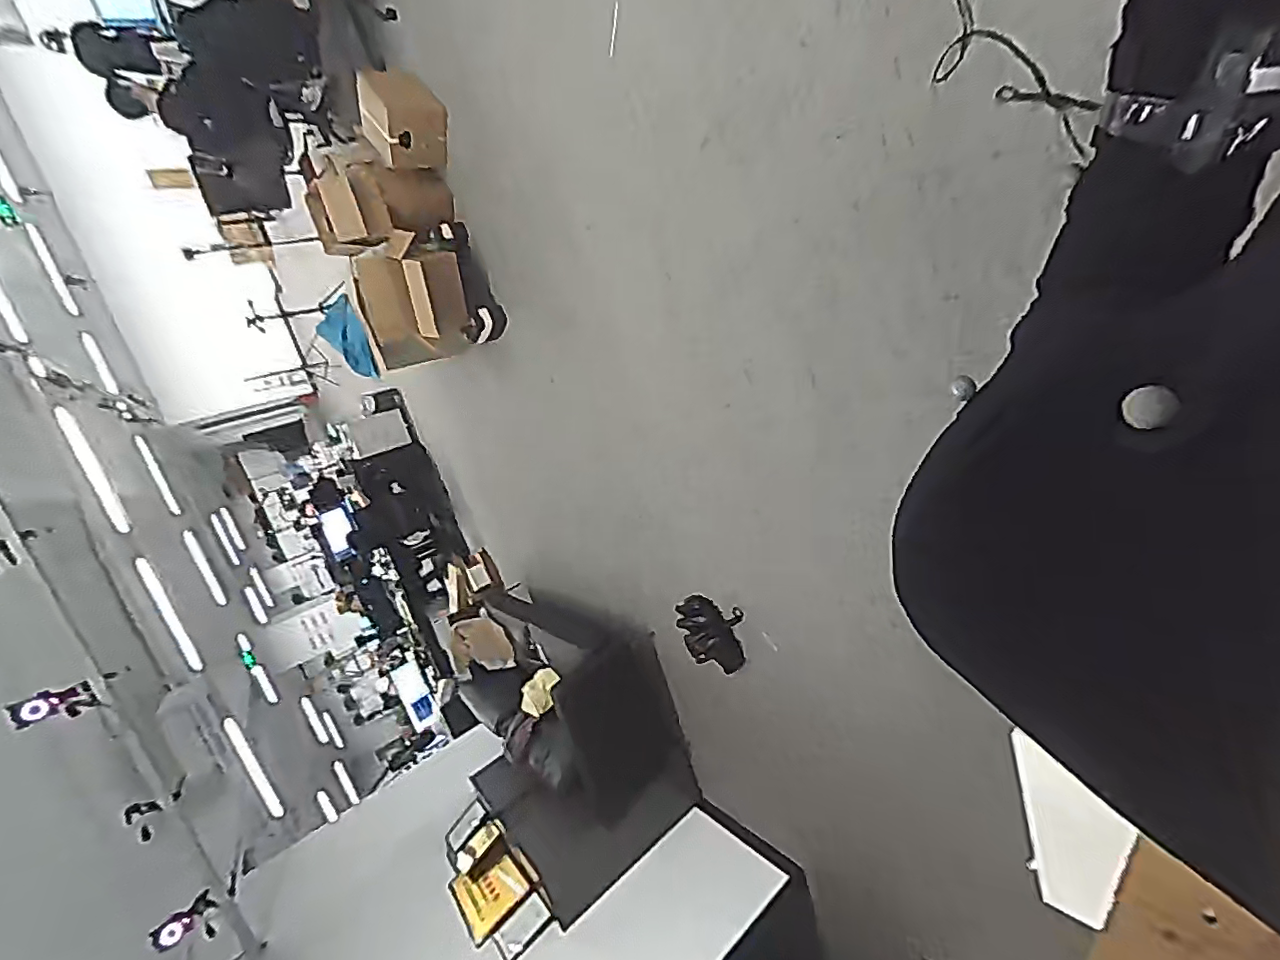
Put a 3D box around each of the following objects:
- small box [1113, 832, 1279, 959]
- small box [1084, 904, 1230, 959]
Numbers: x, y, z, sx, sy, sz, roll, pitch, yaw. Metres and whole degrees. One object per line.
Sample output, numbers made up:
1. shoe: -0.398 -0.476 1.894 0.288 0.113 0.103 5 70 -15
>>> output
1. small box: 0.792 0.638 0.742 0.179 0.176 0.168 3 112 56
2. small box: 0.664 0.693 0.662 0.168 0.176 0.179 0 110 57
